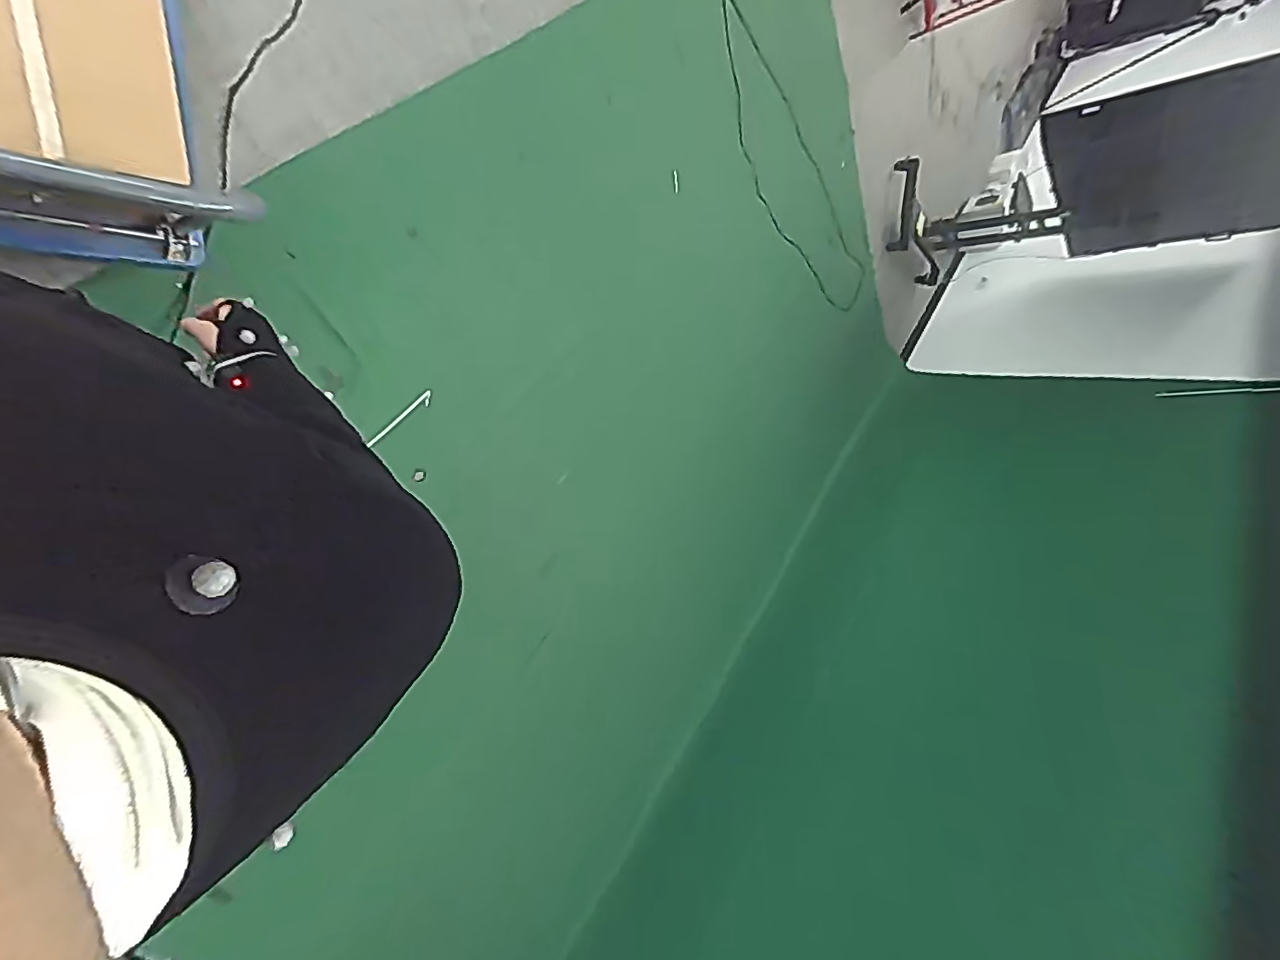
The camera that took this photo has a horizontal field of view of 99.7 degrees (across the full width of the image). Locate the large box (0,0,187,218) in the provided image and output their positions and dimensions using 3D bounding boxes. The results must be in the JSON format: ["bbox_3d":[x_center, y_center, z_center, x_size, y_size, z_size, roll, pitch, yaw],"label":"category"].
[{"bbox_3d":[-0.965,-0.672,0.845,0.320,0.320,0.408,-13,107,-46],"label":"large box"}]
